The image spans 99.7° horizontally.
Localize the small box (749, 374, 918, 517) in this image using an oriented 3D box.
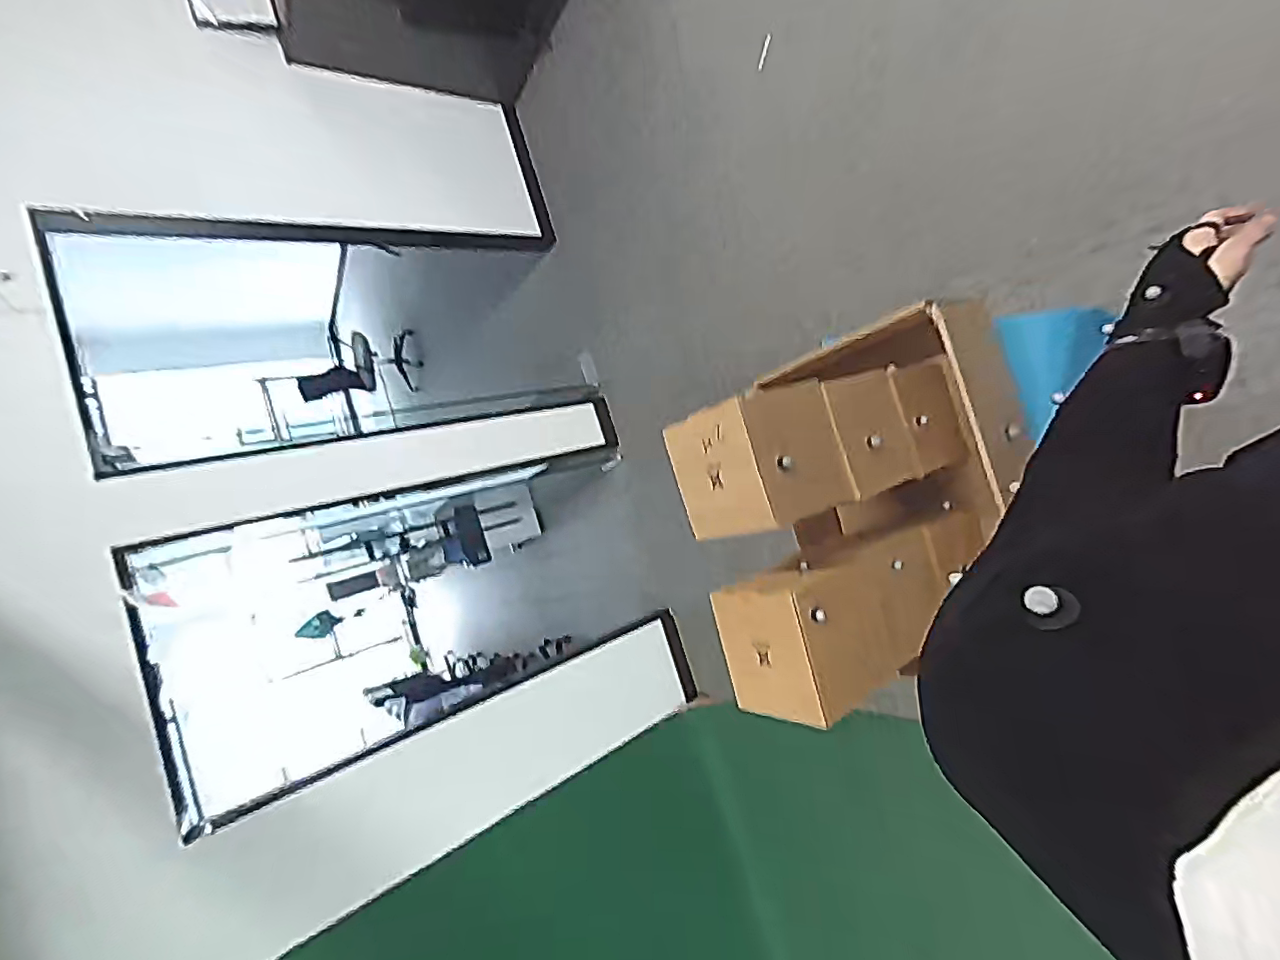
[{"bbox_3d":[0.314,-0.055,0.873,0.168,0.176,0.179,-22,86,56],"label":"small box"}]
